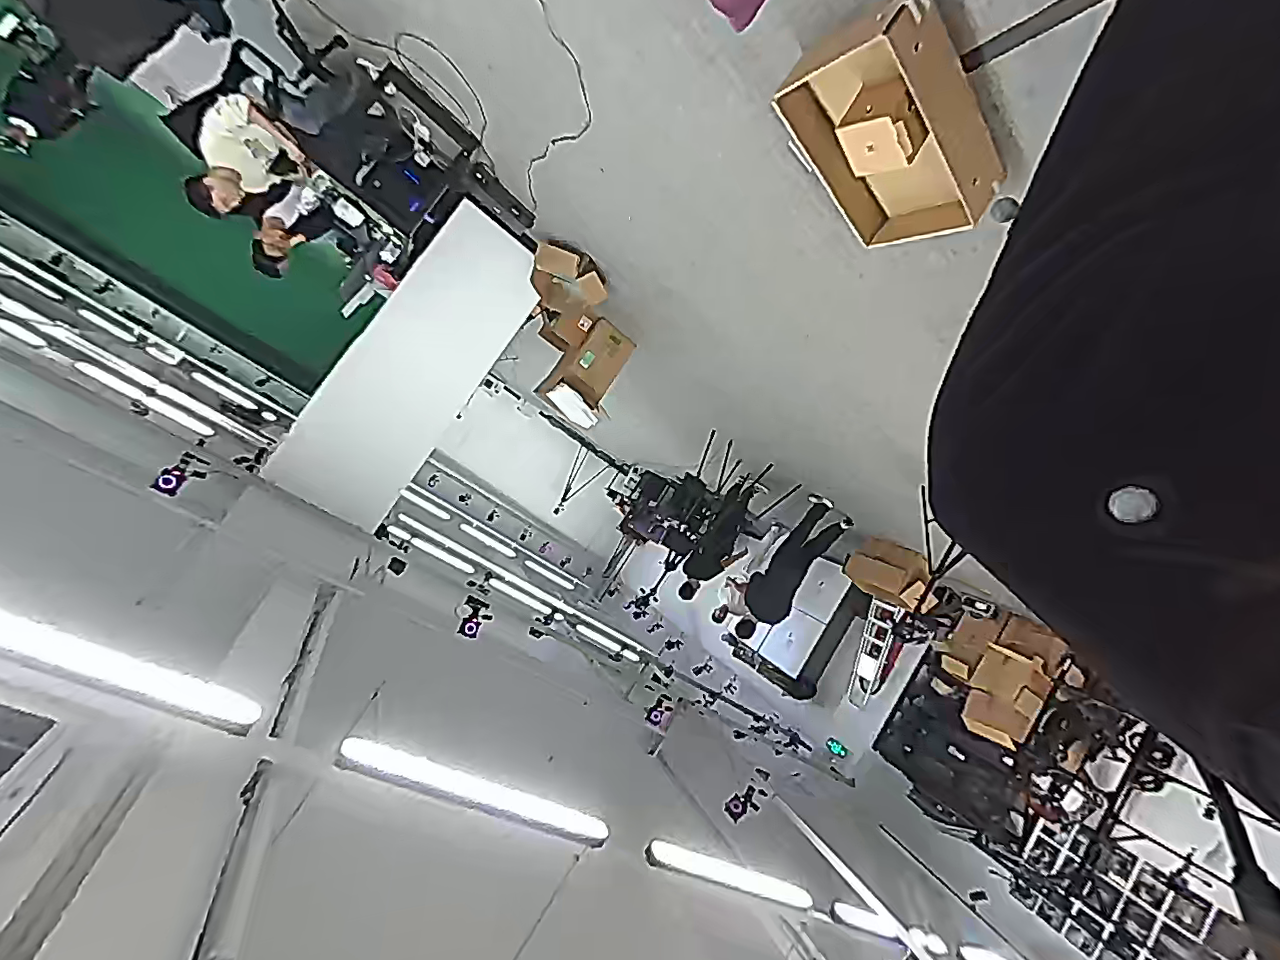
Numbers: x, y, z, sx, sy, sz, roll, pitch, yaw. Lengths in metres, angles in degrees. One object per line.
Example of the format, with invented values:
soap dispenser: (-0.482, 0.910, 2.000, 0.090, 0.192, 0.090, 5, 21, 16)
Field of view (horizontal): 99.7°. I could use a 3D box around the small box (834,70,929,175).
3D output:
small box: (0.690, -1.008, 1.530, 0.168, 0.176, 0.179, 37, 172, -39)
